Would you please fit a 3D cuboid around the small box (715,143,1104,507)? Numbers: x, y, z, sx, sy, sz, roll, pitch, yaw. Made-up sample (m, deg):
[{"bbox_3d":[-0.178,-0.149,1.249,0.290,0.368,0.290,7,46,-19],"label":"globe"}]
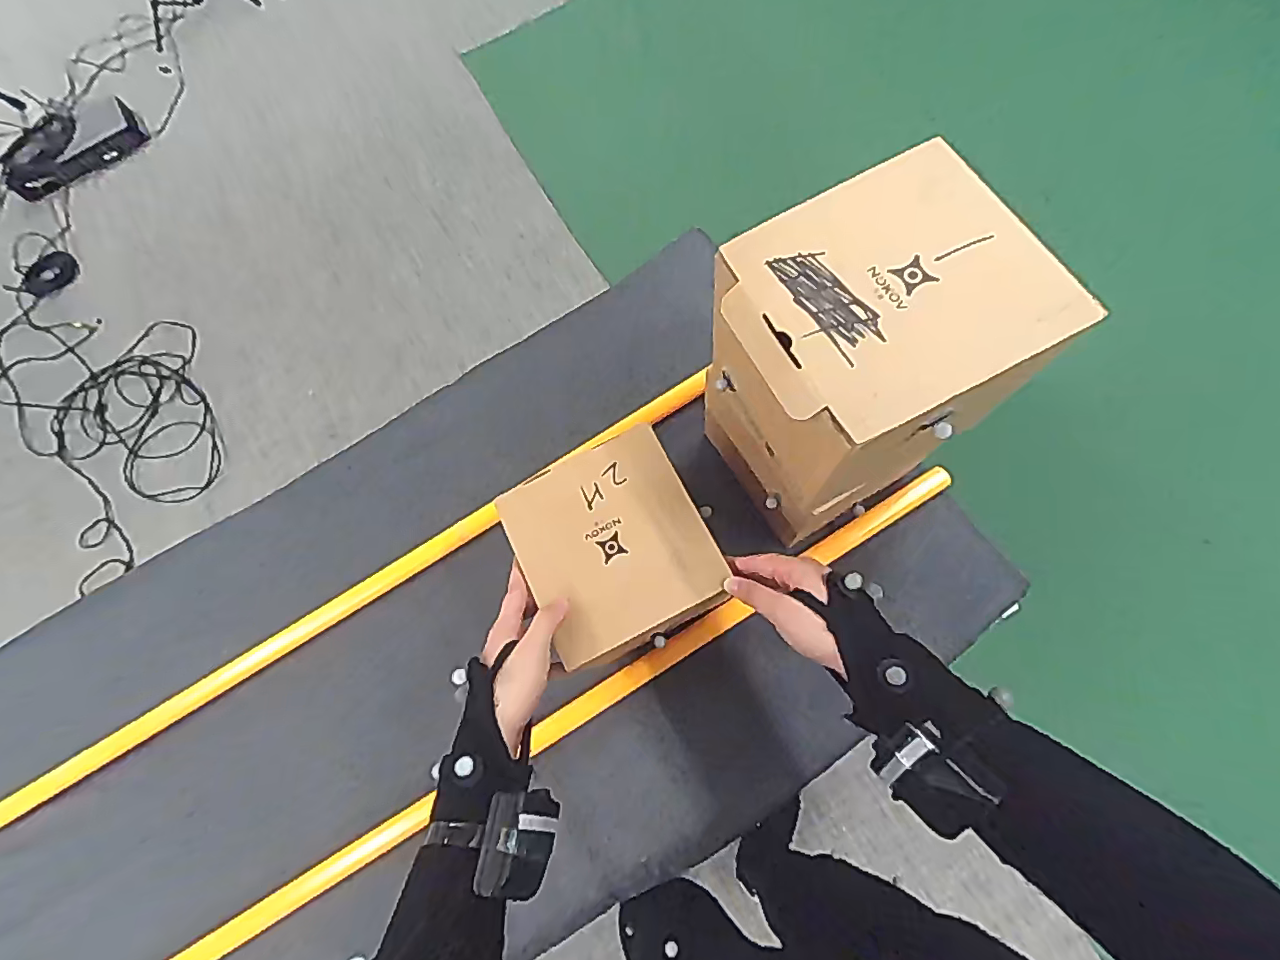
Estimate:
[{"bbox_3d":[0.171,-0.098,0.413,0.179,0.176,0.168,-27,73,-3],"label":"small box"}]
